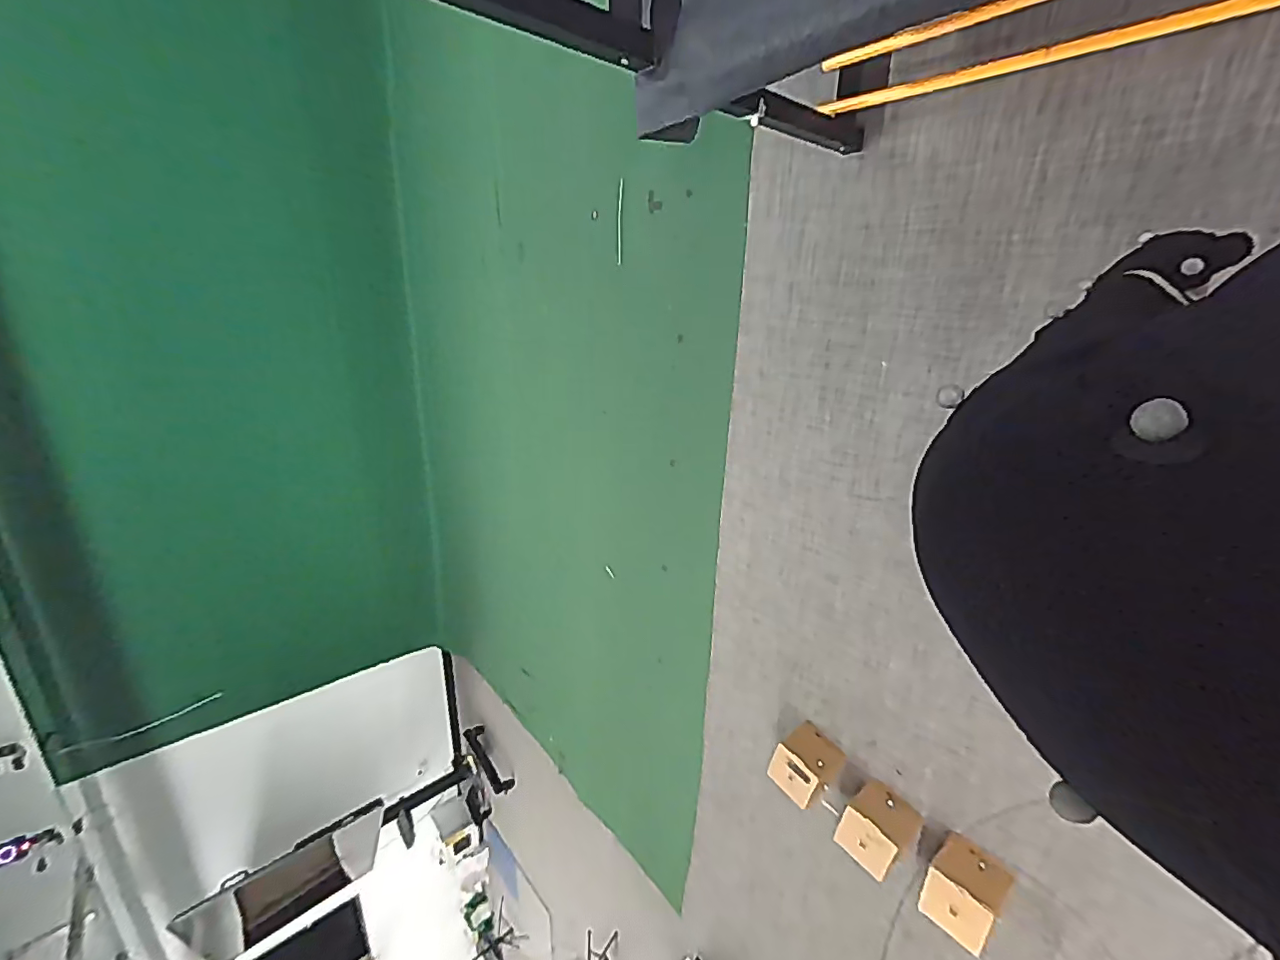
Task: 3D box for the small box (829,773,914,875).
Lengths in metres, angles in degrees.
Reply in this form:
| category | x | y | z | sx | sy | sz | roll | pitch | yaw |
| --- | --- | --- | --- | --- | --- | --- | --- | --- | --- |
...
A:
| category | x | y | z | sx | sy | sz | roll | pitch | yaw |
| --- | --- | --- | --- | --- | --- | --- | --- | --- | --- |
| small box | 0.735 | 1.083 | 1.714 | 0.168 | 0.176 | 0.179 | 32 | 123 | 40 |

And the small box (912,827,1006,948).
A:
| category | x | y | z | sx | sy | sz | roll | pitch | yaw |
| --- | --- | --- | --- | --- | --- | --- | --- | --- | --- |
| small box | 0.905 | 1.146 | 1.532 | 0.168 | 0.176 | 0.179 | 23 | 117 | 44 |
